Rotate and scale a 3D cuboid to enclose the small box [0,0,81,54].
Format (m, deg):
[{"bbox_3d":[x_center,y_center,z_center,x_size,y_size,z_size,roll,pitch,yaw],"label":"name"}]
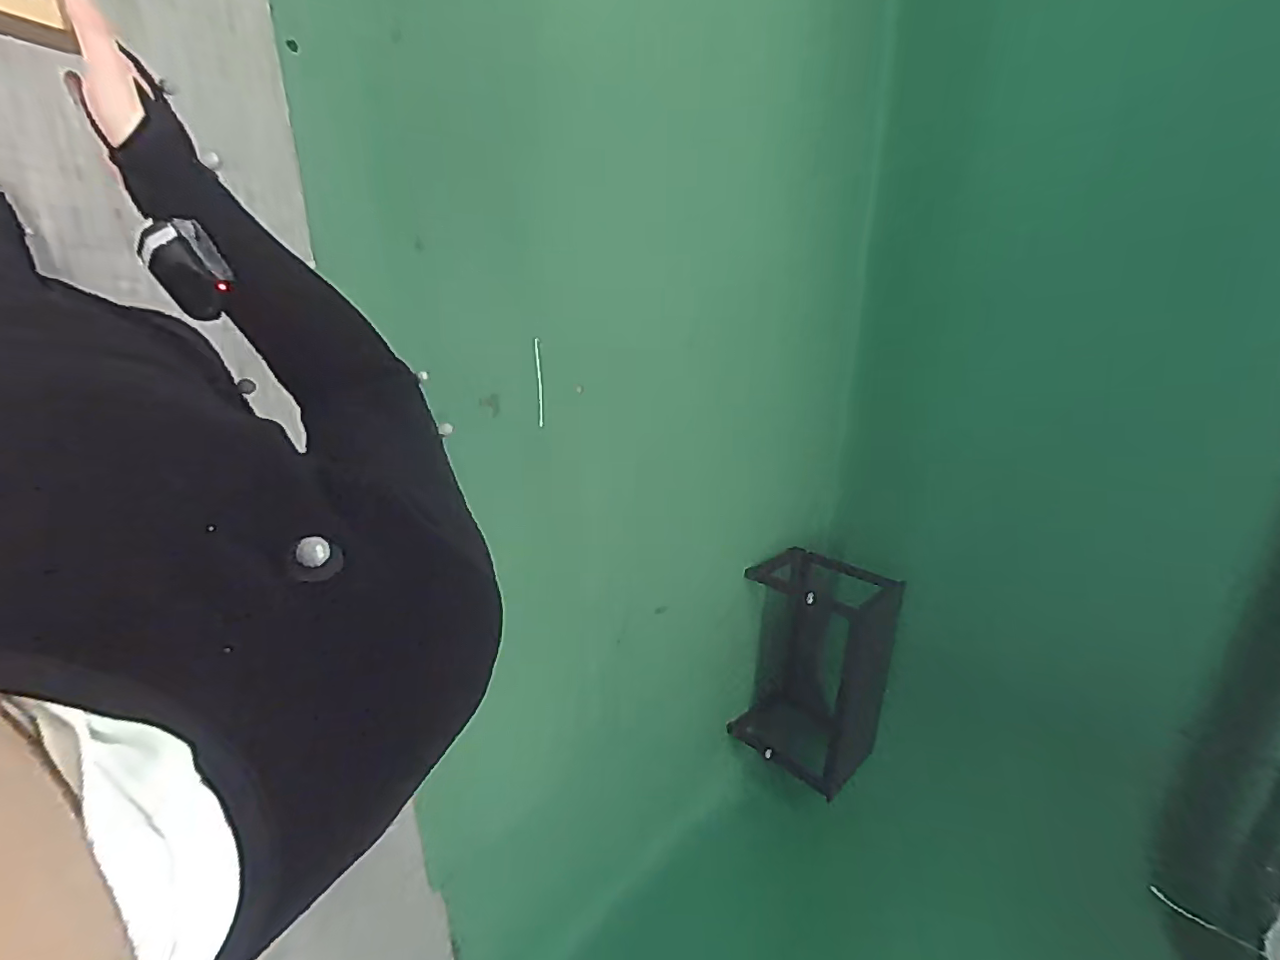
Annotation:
[{"bbox_3d":[-0.507,-0.430,0.363,0.168,0.176,0.179,-6,117,-41],"label":"small box"}]
